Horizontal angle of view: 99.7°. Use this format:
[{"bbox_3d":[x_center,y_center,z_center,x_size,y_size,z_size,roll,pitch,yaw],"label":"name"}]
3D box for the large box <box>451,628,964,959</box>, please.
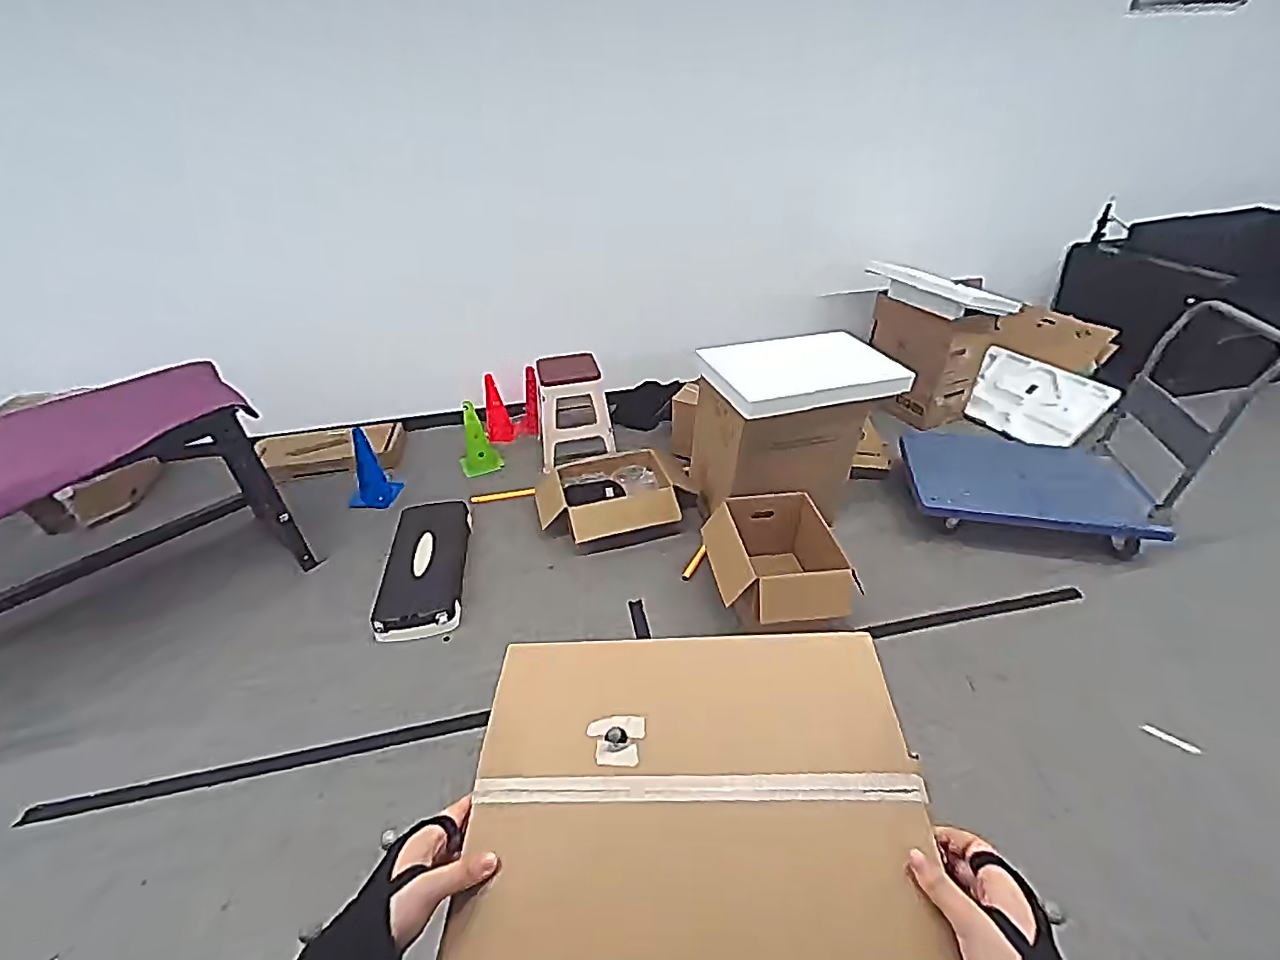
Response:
[{"bbox_3d":[0.068,0.395,0.607,0.408,0.320,0.320,-6,42,7],"label":"large box"}]
